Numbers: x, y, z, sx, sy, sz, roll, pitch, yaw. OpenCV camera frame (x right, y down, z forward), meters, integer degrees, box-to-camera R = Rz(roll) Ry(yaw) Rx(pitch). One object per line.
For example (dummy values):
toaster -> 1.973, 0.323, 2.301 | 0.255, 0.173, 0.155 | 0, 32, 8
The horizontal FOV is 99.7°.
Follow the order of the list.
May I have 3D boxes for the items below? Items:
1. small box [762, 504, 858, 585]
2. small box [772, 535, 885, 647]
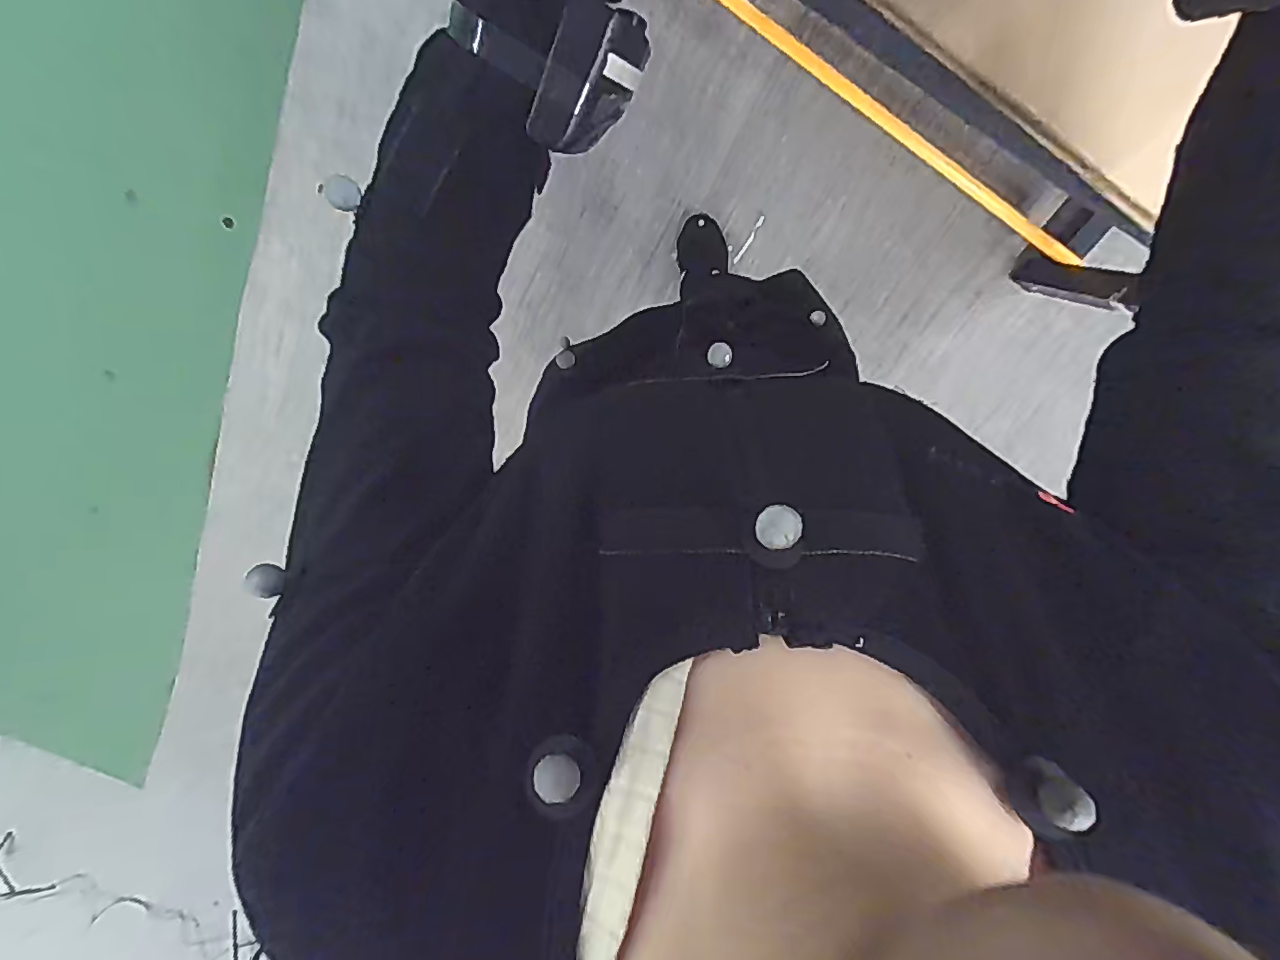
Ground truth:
small box -> 0.440, 0.191, 1.440 | 0.168, 0.176, 0.179 | 23, 116, -7
small box -> 0.439, 0.257, 1.290 | 0.179, 0.176, 0.168 | 24, 115, -6
